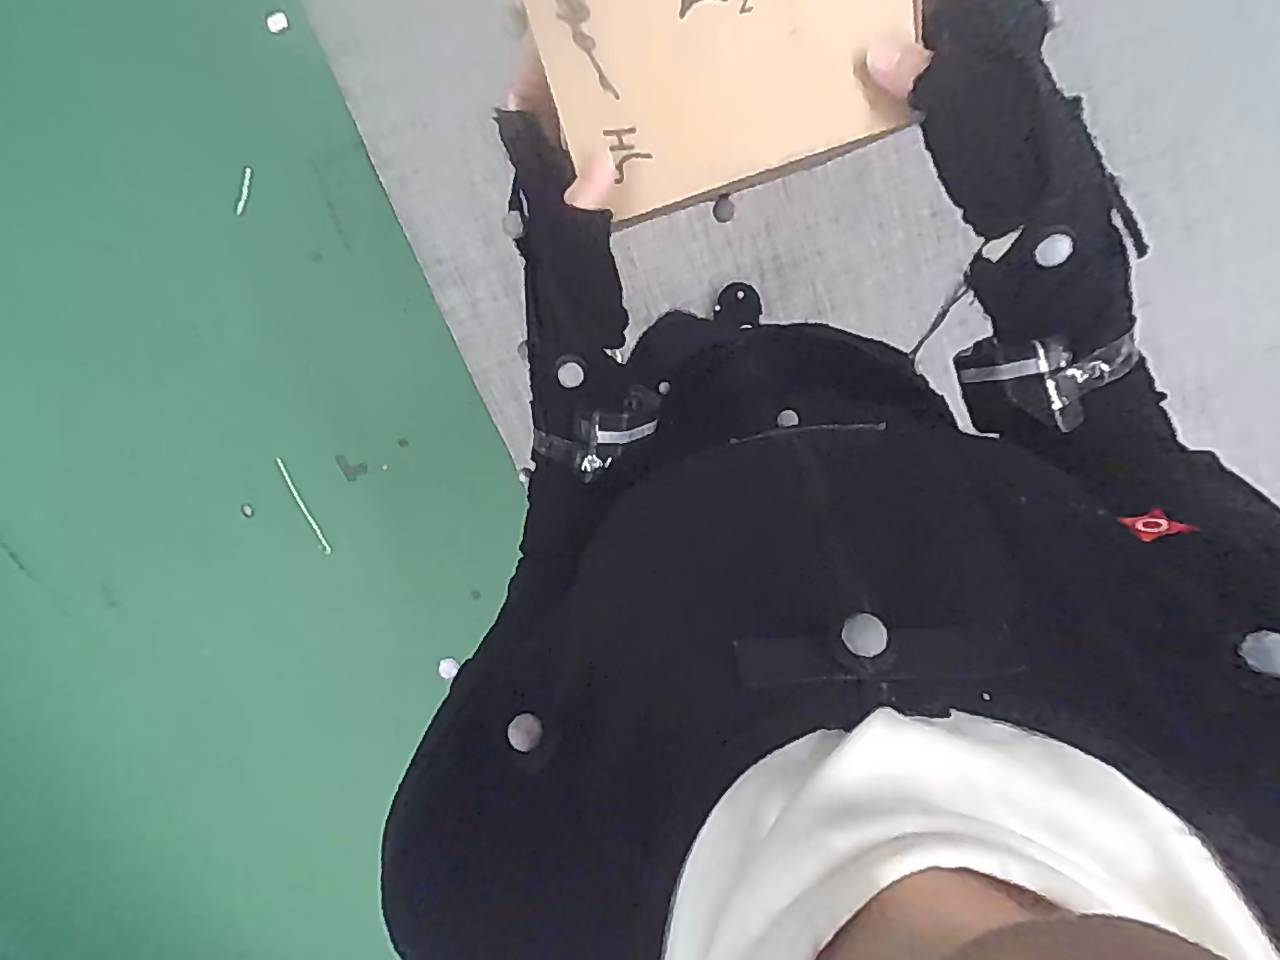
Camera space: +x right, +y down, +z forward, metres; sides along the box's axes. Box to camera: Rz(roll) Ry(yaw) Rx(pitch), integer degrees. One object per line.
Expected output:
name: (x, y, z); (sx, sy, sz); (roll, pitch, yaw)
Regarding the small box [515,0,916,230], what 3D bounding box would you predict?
small box: (0.029, -0.263, 0.319); (0.179, 0.176, 0.168); (-18, 113, 8)
